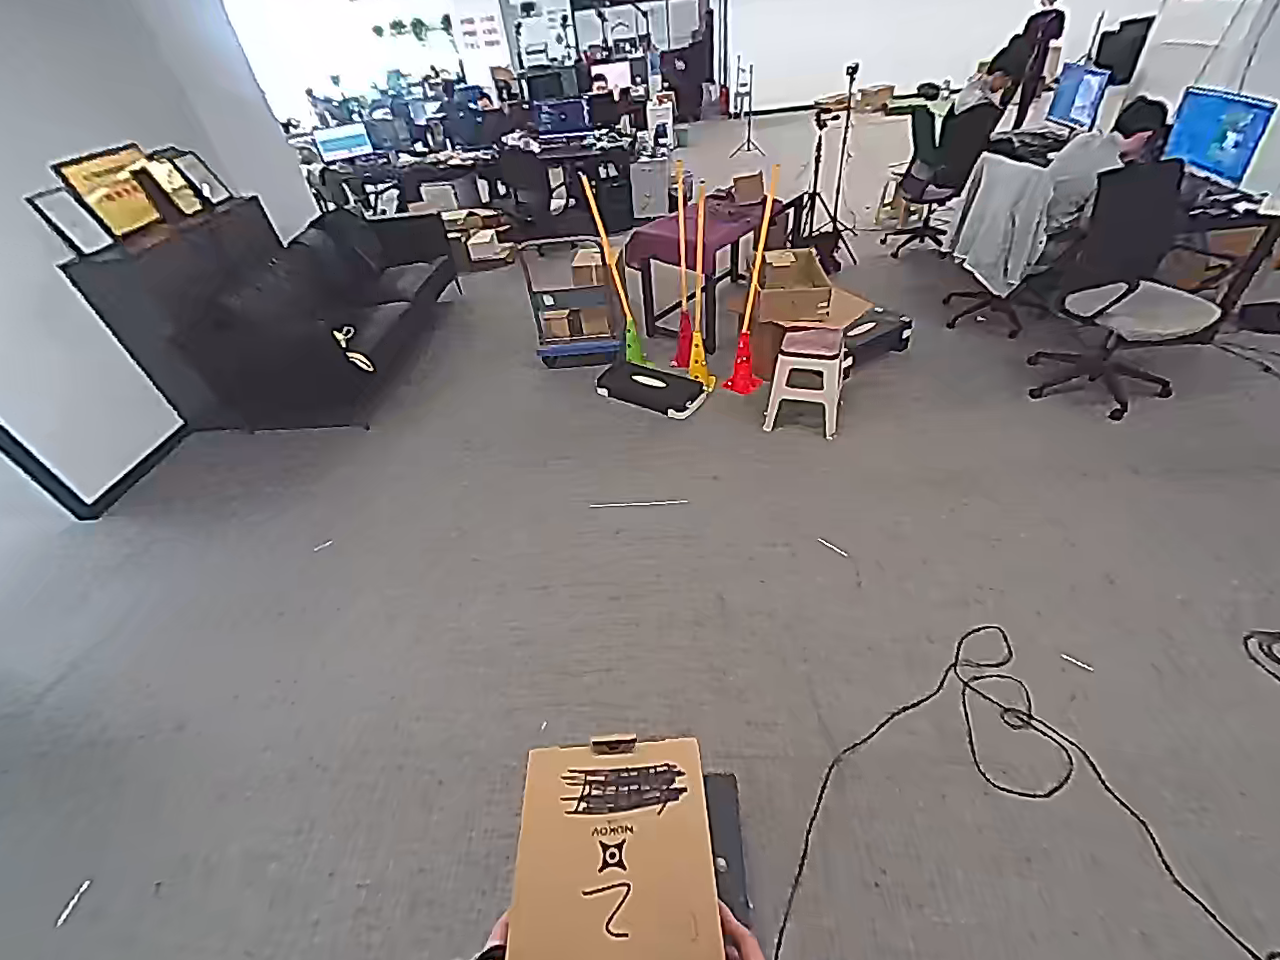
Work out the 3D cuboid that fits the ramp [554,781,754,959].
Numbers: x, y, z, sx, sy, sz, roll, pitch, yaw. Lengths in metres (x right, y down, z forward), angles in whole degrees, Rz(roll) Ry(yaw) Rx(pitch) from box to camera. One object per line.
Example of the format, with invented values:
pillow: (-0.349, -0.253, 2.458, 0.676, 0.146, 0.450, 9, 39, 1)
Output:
ramp: (0.026, 1.195, 1.260, 0.509, 0.206, 0.991, -5, 40, 5)
